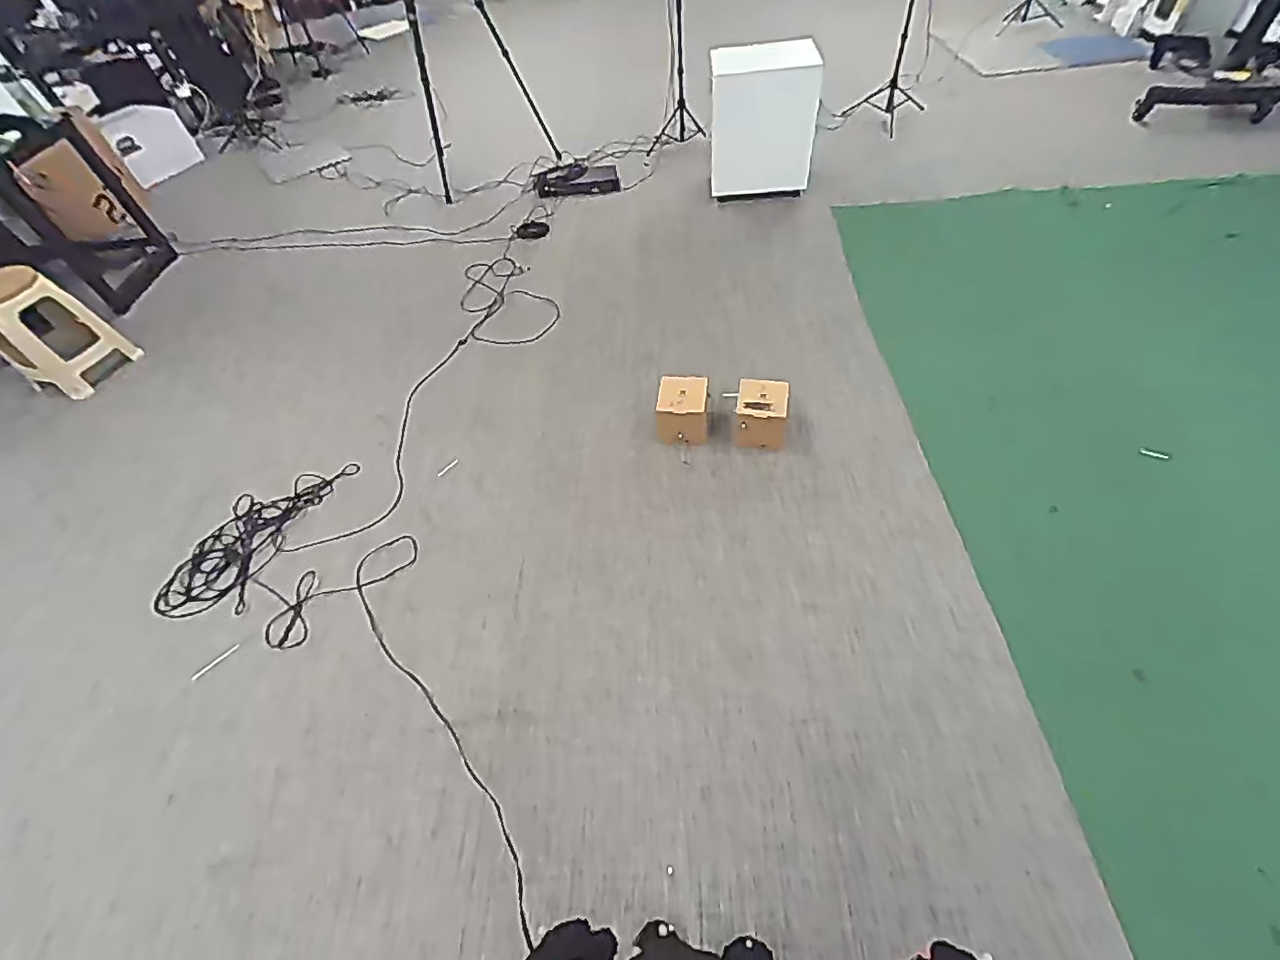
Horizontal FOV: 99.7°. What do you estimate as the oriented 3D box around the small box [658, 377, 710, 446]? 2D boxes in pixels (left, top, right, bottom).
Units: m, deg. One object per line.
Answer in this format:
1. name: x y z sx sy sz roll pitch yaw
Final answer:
1. small box: 0.161 -0.246 1.931 0.168 0.176 0.179 4 53 10
